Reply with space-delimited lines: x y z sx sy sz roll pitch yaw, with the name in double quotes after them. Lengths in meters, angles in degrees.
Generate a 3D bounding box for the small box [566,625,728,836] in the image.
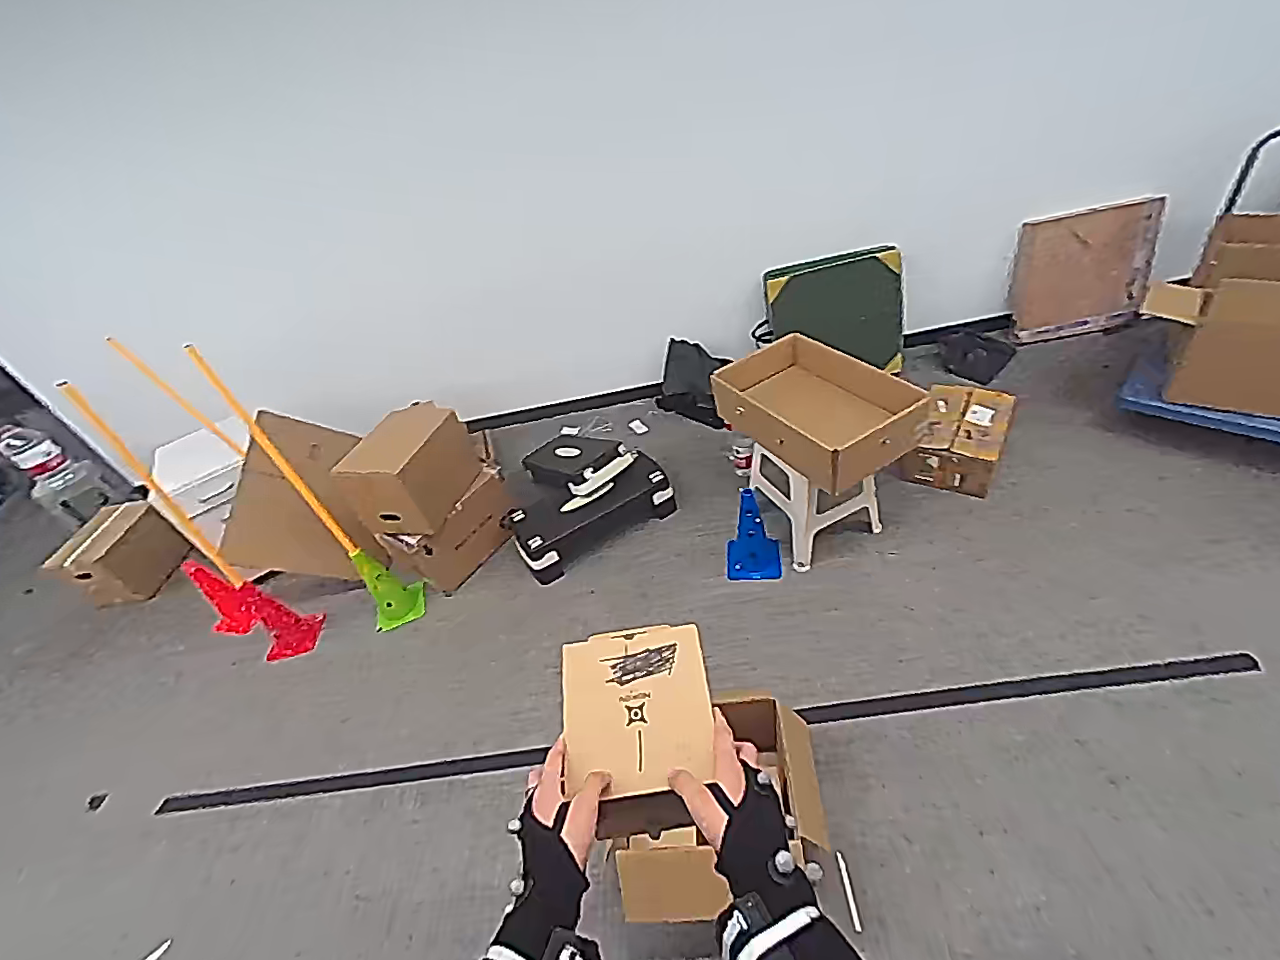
0.010 0.304 0.656 0.168 0.176 0.179 -10 46 2 "small box"
